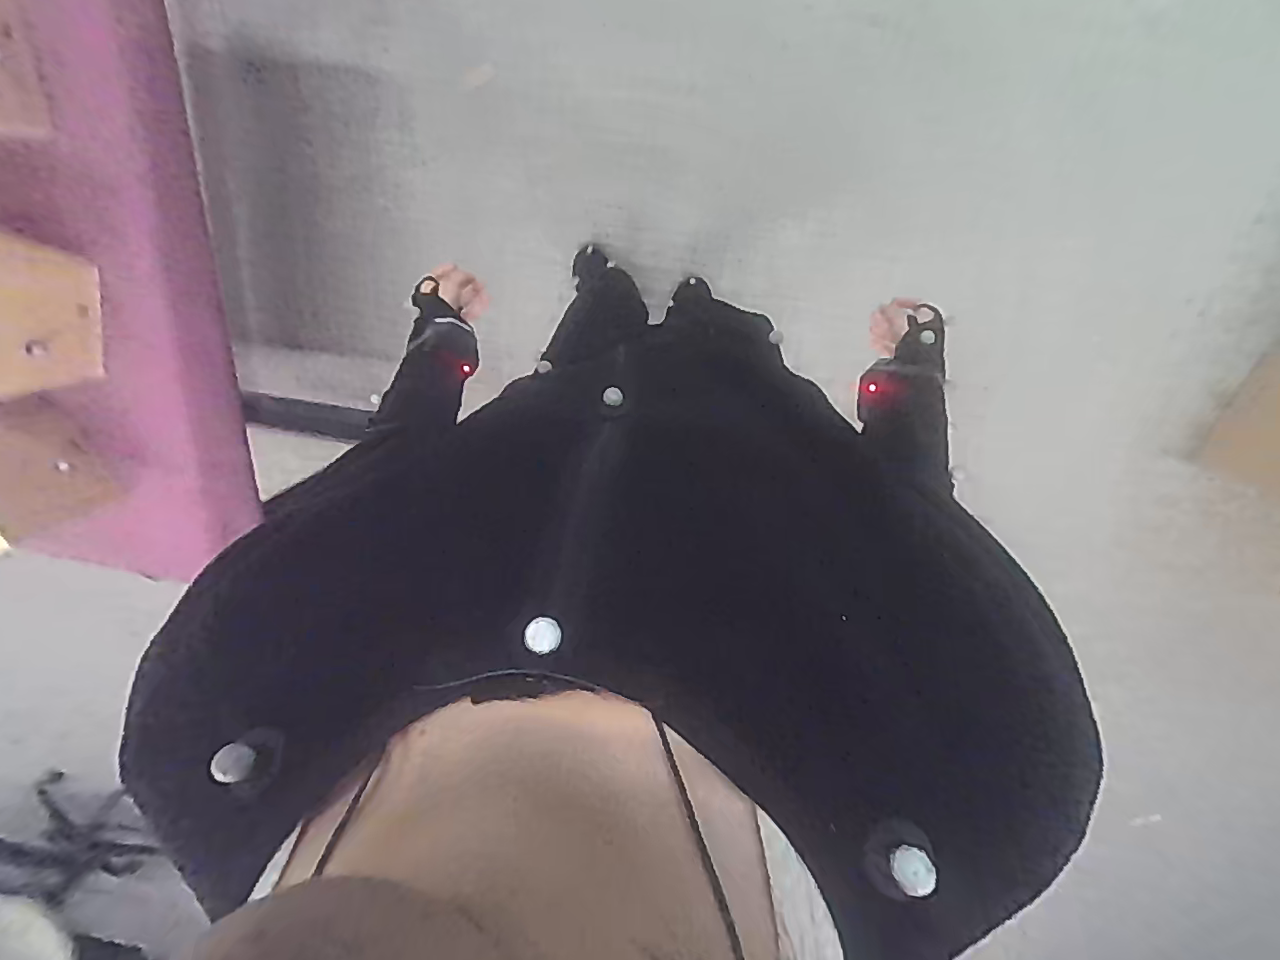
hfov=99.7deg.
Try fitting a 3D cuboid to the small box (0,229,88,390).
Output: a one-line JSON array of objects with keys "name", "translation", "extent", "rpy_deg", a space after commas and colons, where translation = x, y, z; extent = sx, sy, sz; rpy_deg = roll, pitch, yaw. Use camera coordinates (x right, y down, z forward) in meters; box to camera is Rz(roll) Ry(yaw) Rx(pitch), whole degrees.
[{"name": "small box", "translation": [-0.865, -0.227, 0.690], "extent": [0.179, 0.176, 0.168], "rpy_deg": [21, 114, -2]}]
